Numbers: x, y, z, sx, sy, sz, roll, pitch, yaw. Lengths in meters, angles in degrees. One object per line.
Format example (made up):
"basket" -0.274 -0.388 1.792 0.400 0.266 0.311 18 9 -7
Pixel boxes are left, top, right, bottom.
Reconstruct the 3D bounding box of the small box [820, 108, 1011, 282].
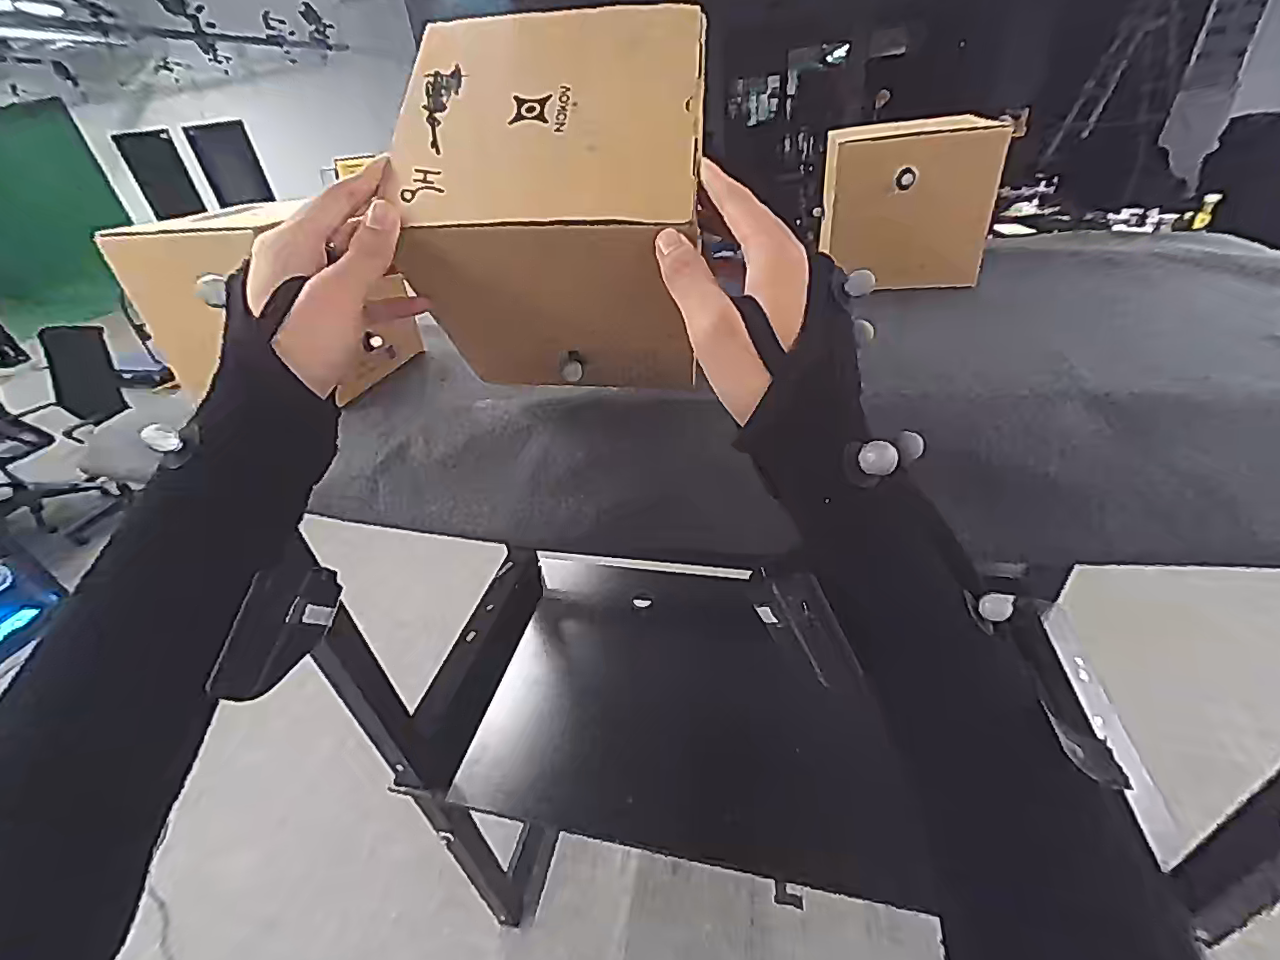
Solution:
"small box" 0.322 -0.354 0.678 0.179 0.176 0.168 3 36 14

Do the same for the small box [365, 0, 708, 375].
"small box" -0.048 -0.186 0.376 0.179 0.176 0.168 3 70 5
